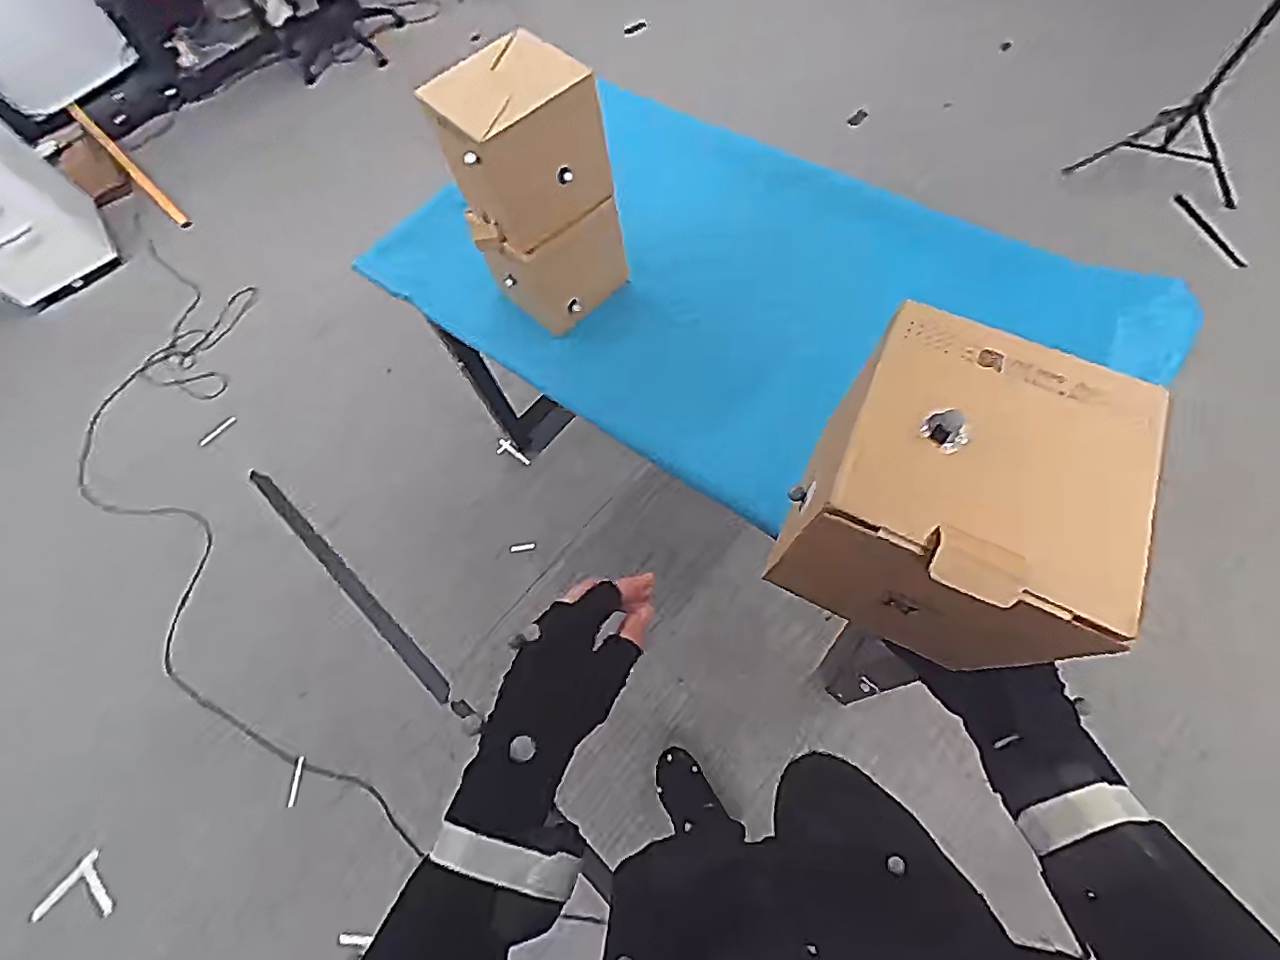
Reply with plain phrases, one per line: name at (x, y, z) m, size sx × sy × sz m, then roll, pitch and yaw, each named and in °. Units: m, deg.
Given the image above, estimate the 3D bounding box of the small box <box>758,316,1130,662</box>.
small box at (0.210, 0.013, 0.400) m, size 0.168 × 0.179 × 0.176 m, roll 26°, pitch 70°, yaw 10°

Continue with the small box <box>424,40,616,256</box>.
small box at (-0.161, -0.460, 0.752) m, size 0.179 × 0.176 × 0.168 m, roll -41°, pitch 67°, yaw -10°

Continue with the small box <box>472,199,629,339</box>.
small box at (-0.144, -0.378, 0.894) m, size 0.168 × 0.176 × 0.179 m, roll 41°, pitch 76°, yaw 22°
